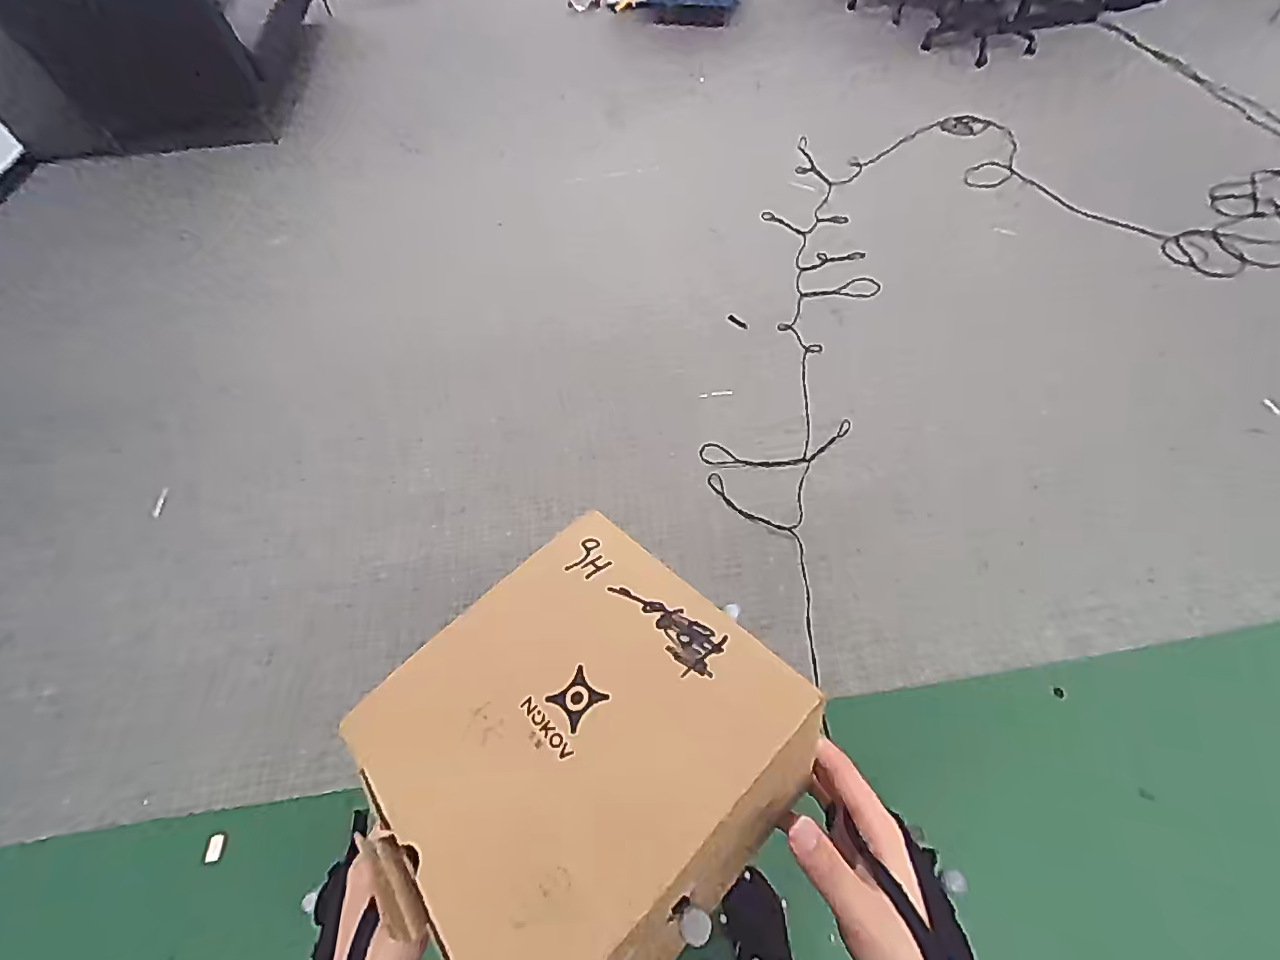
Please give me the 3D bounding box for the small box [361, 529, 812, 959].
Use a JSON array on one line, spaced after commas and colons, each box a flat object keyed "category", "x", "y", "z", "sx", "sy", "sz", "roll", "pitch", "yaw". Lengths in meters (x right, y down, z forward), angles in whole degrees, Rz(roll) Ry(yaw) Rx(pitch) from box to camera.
[{"category": "small box", "x": -0.016, "y": 0.170, "z": 0.322, "sx": 0.179, "sy": 0.176, "sz": 0.168, "roll": -41, "pitch": 52, "yaw": -20}]
